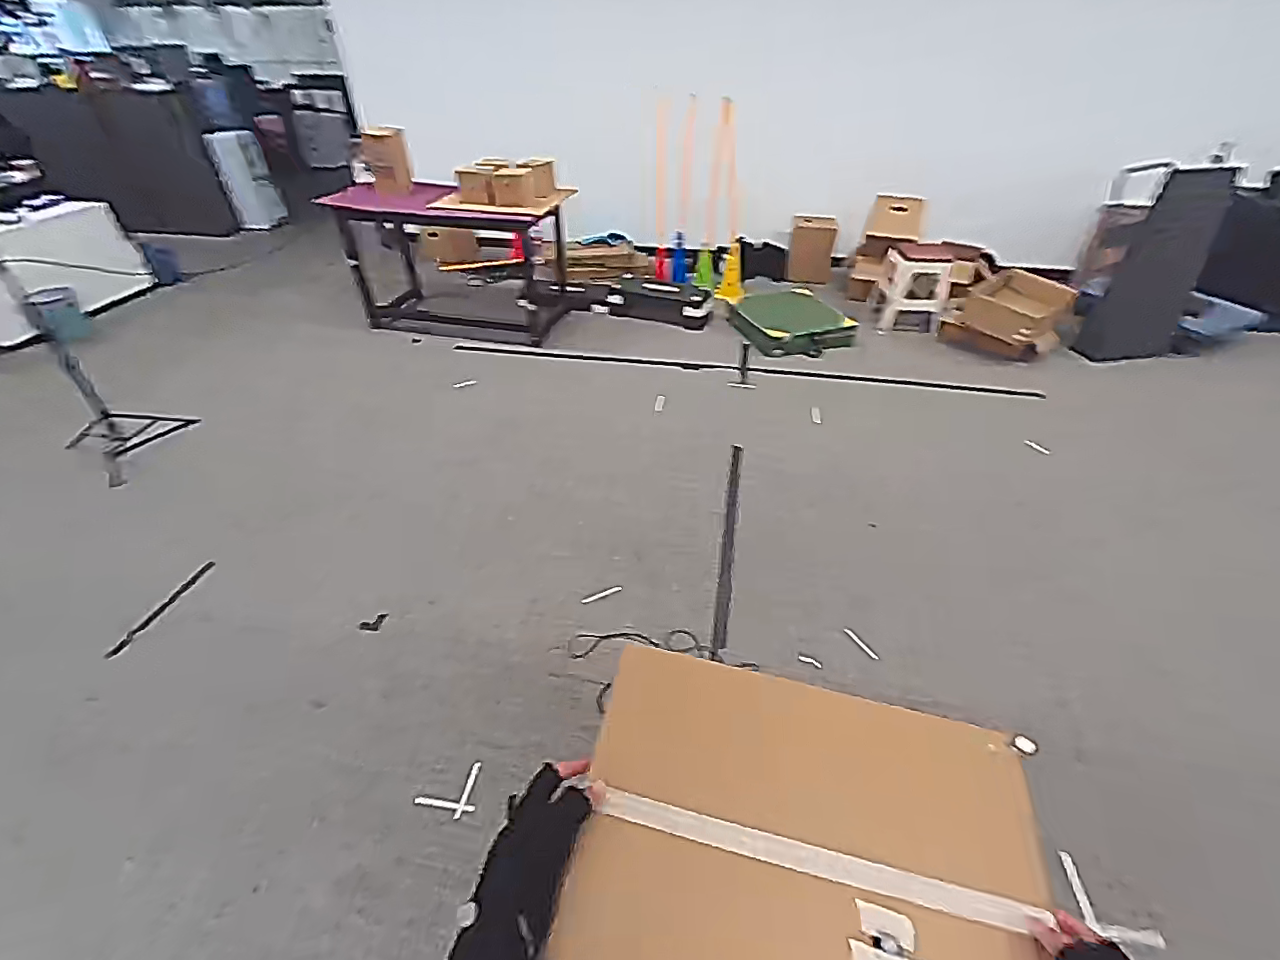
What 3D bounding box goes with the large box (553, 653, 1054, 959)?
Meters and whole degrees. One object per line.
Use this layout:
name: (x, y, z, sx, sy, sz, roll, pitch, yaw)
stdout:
large box: (0.146, 0.439, 0.594, 0.408, 0.320, 0.320, 12, 49, 9)
